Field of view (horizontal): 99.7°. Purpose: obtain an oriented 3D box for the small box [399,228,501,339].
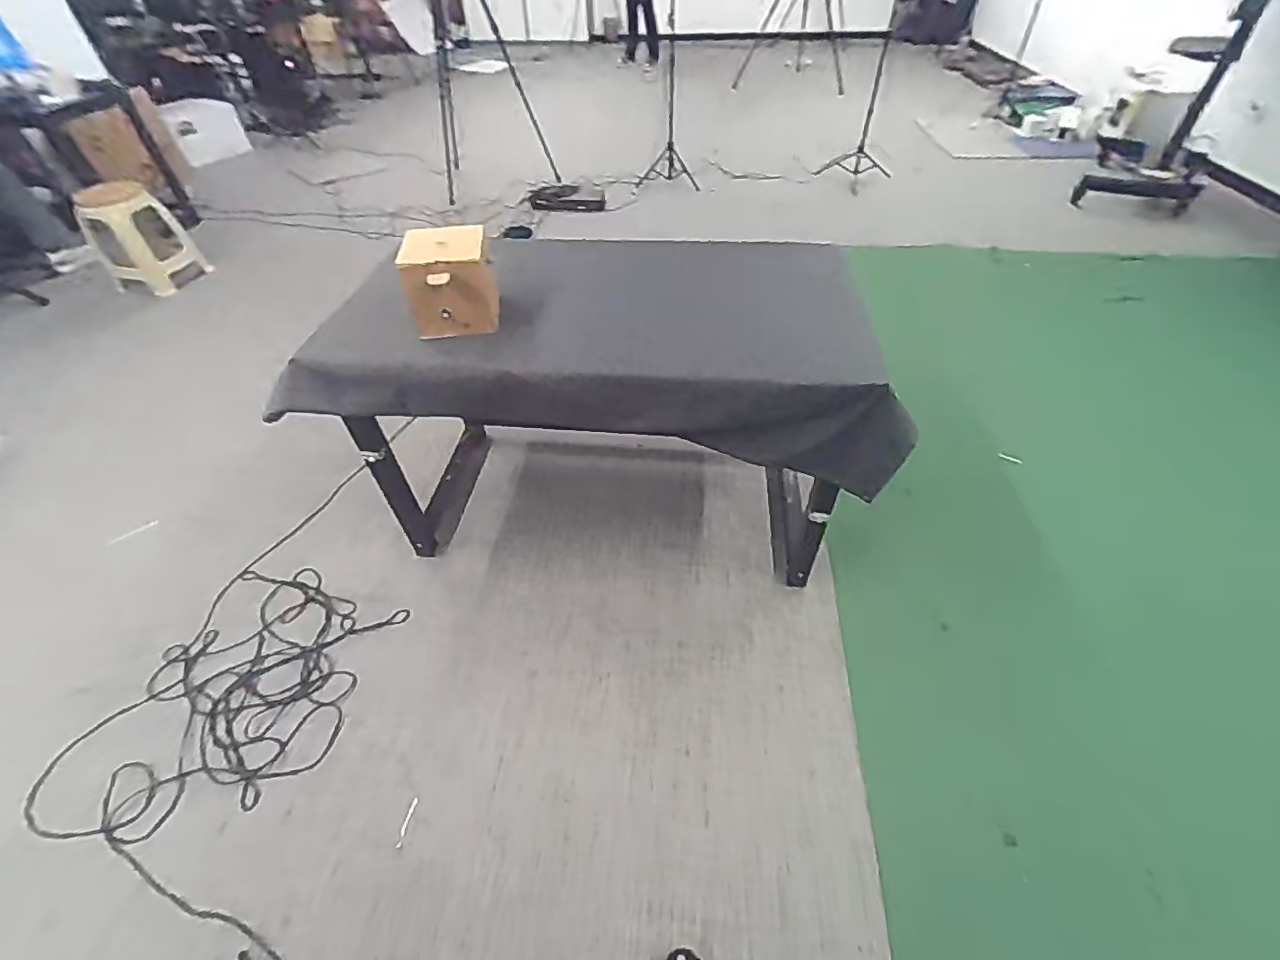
[{"bbox_3d":[-0.402,-0.426,1.174,0.168,0.176,0.179,-7,47,-6],"label":"small box"}]
